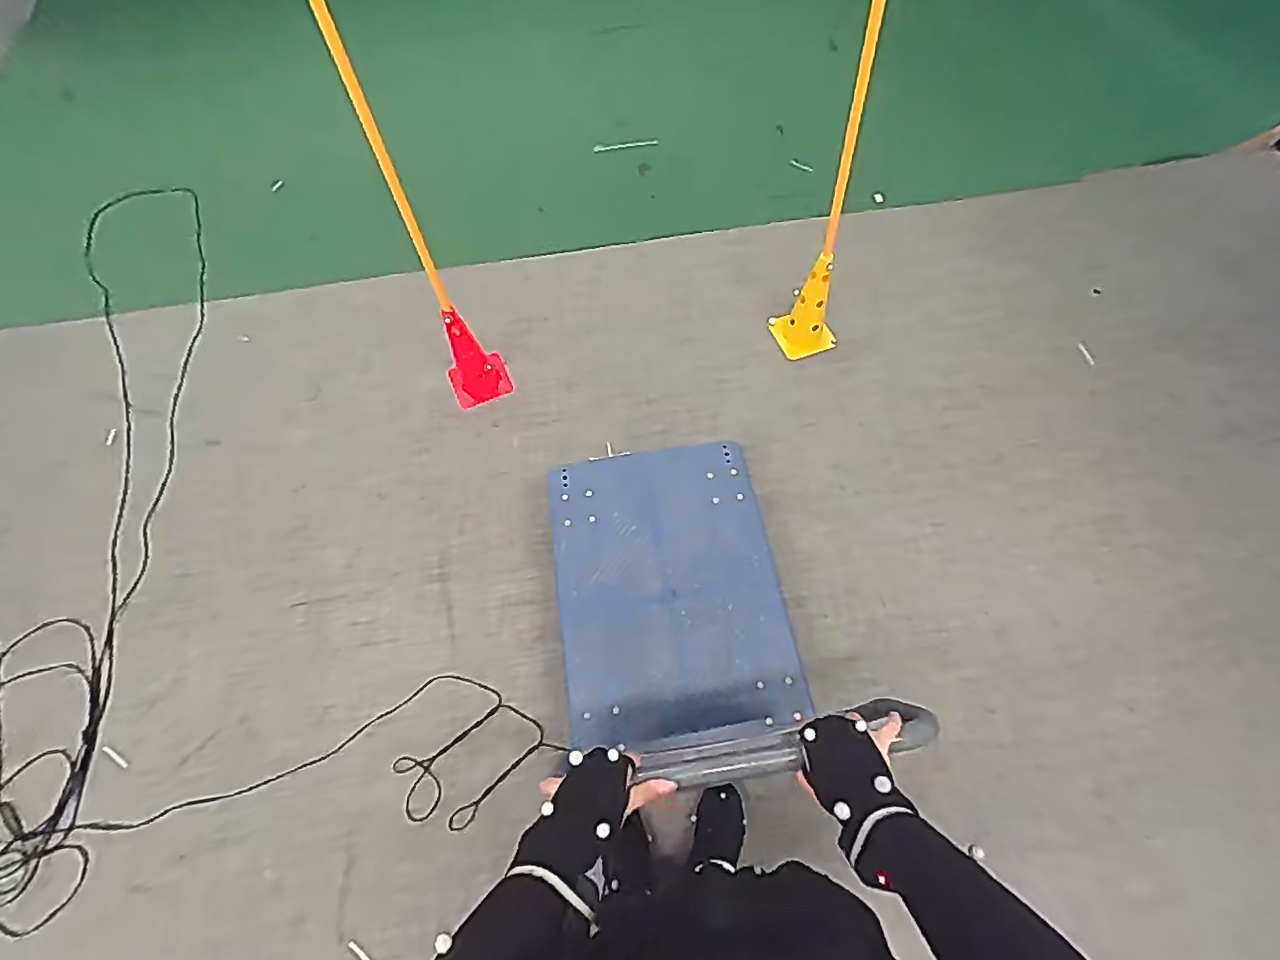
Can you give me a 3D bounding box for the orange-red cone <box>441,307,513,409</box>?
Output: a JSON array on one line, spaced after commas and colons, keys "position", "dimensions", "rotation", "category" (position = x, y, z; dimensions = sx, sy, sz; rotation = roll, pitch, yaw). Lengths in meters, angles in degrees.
[{"position": [-0.578, -0.431, 1.791], "dimensions": [0.199, 0.360, 0.198], "rotation": [-23, 64, -8], "category": "orange-red cone"}]
